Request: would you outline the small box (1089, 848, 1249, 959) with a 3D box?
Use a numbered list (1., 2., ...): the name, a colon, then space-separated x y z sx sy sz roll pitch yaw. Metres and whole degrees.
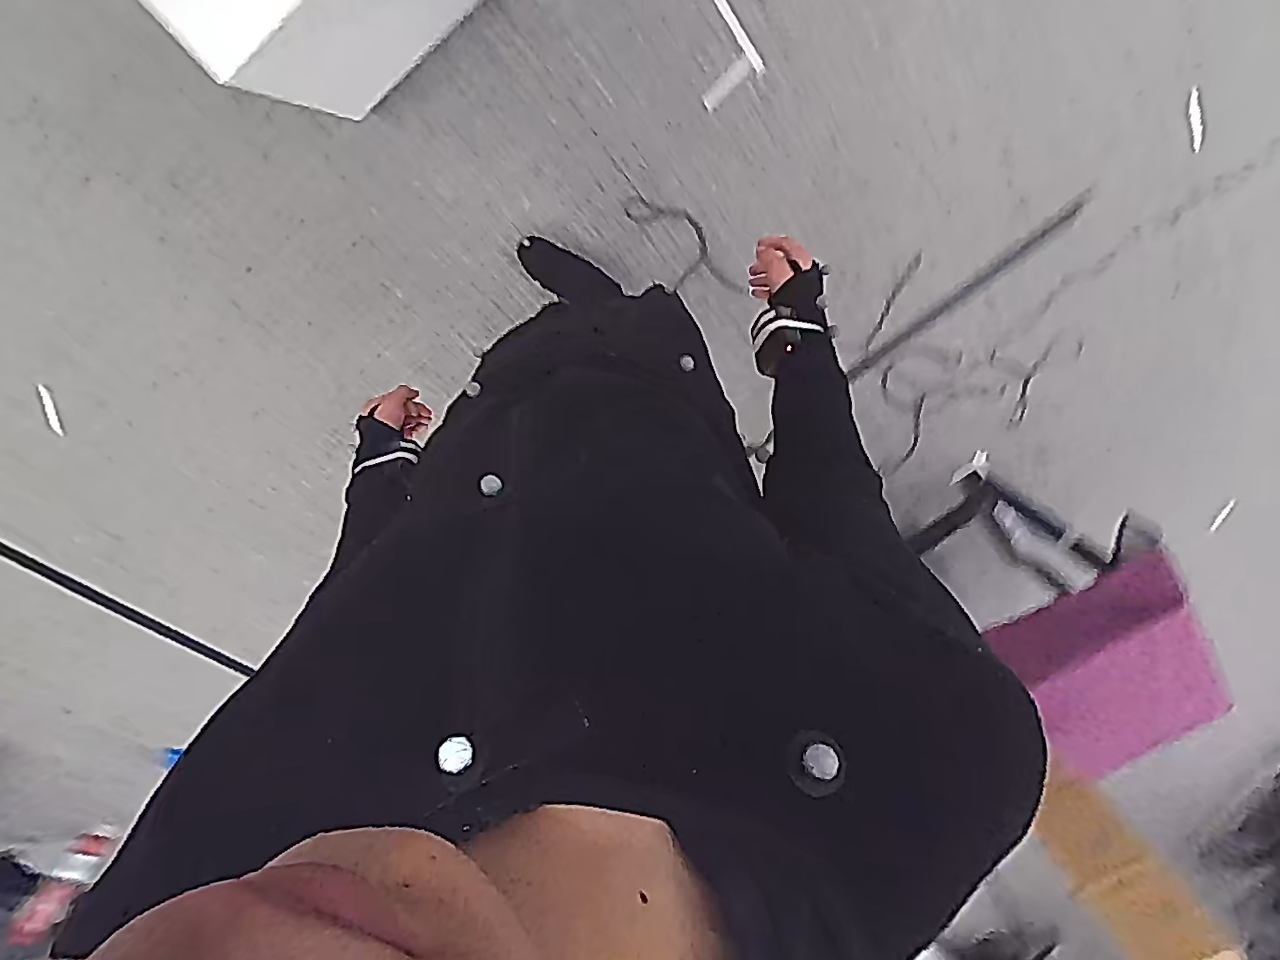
1. small box: 1.090 0.907 1.126 0.168 0.176 0.179 -38 119 12
